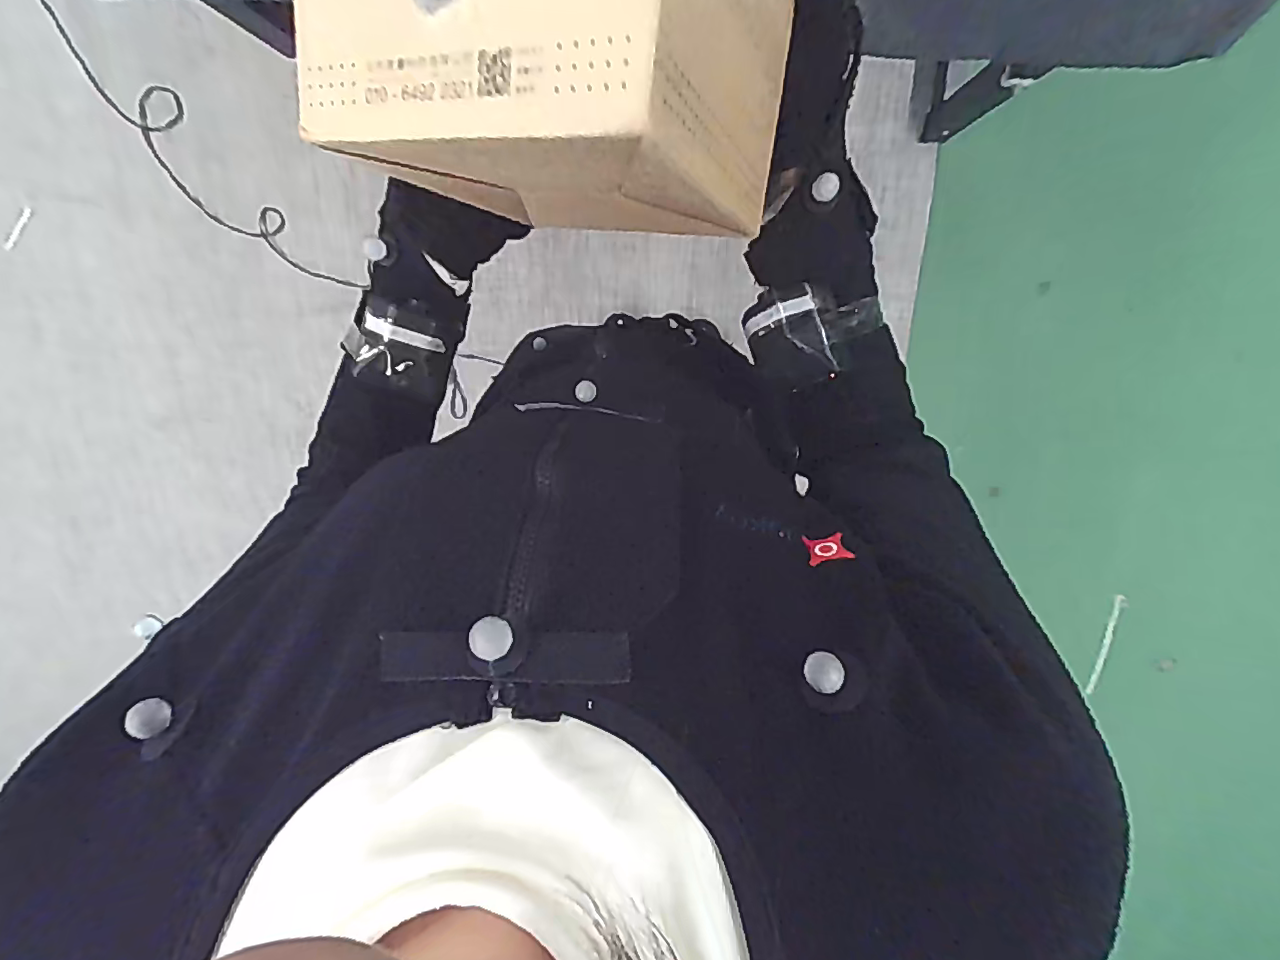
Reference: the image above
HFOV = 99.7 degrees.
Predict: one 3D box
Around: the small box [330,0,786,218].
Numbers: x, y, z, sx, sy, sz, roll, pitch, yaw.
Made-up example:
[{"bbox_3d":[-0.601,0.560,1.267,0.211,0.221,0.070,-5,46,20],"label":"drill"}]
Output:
[{"bbox_3d":[-0.029,-0.237,0.268,0.168,0.179,0.176,12,106,23],"label":"small box"}]
